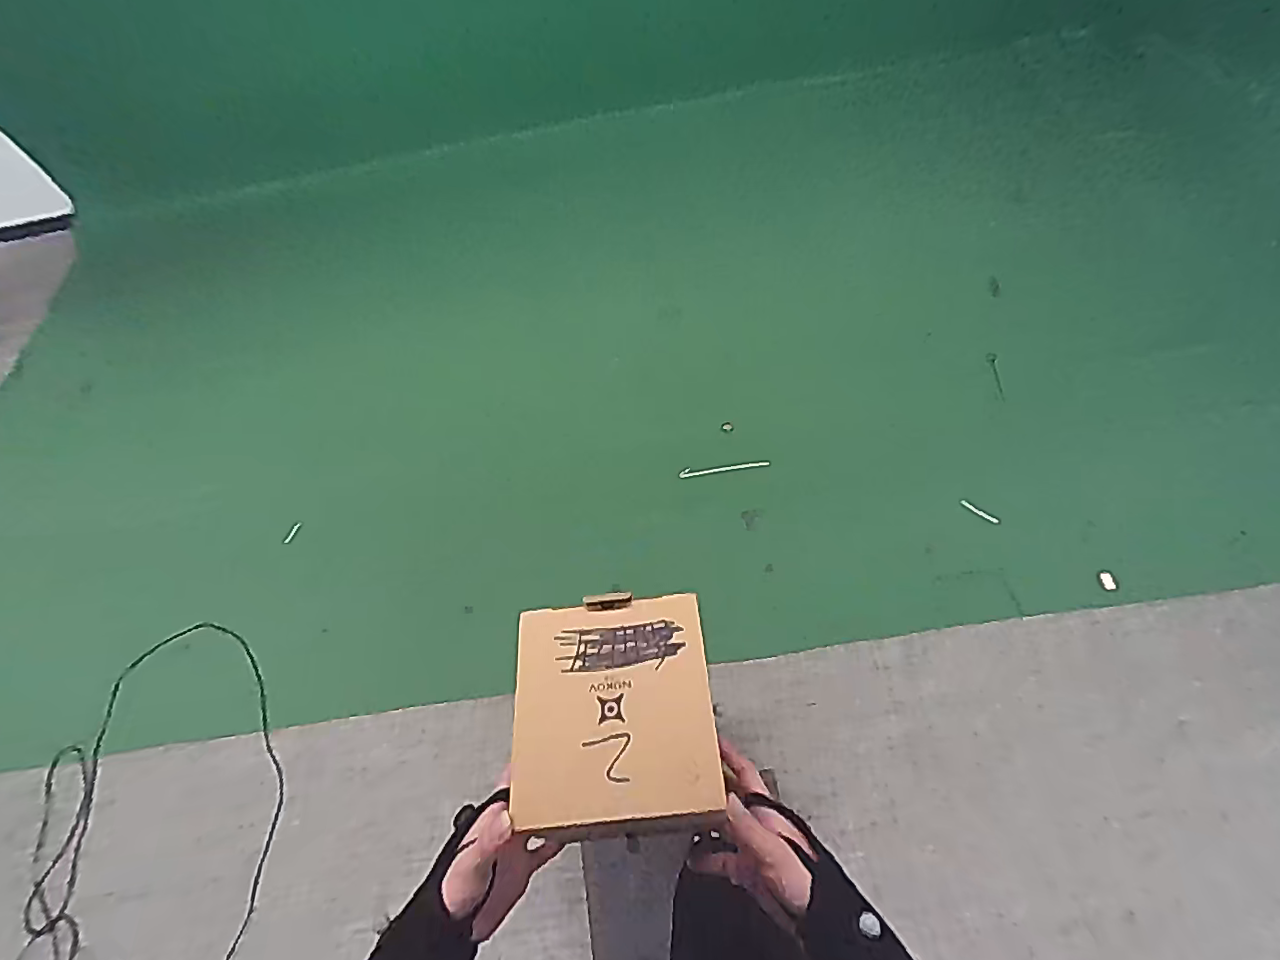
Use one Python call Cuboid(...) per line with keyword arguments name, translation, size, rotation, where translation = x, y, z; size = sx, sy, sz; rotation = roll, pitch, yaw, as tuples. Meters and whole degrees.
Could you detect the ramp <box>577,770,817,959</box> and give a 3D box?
Cuboid(name="ramp", translation=(0.165, 1.193, 1.130), size=(0.509, 0.206, 0.991), rotation=(-11, 60, 1))
